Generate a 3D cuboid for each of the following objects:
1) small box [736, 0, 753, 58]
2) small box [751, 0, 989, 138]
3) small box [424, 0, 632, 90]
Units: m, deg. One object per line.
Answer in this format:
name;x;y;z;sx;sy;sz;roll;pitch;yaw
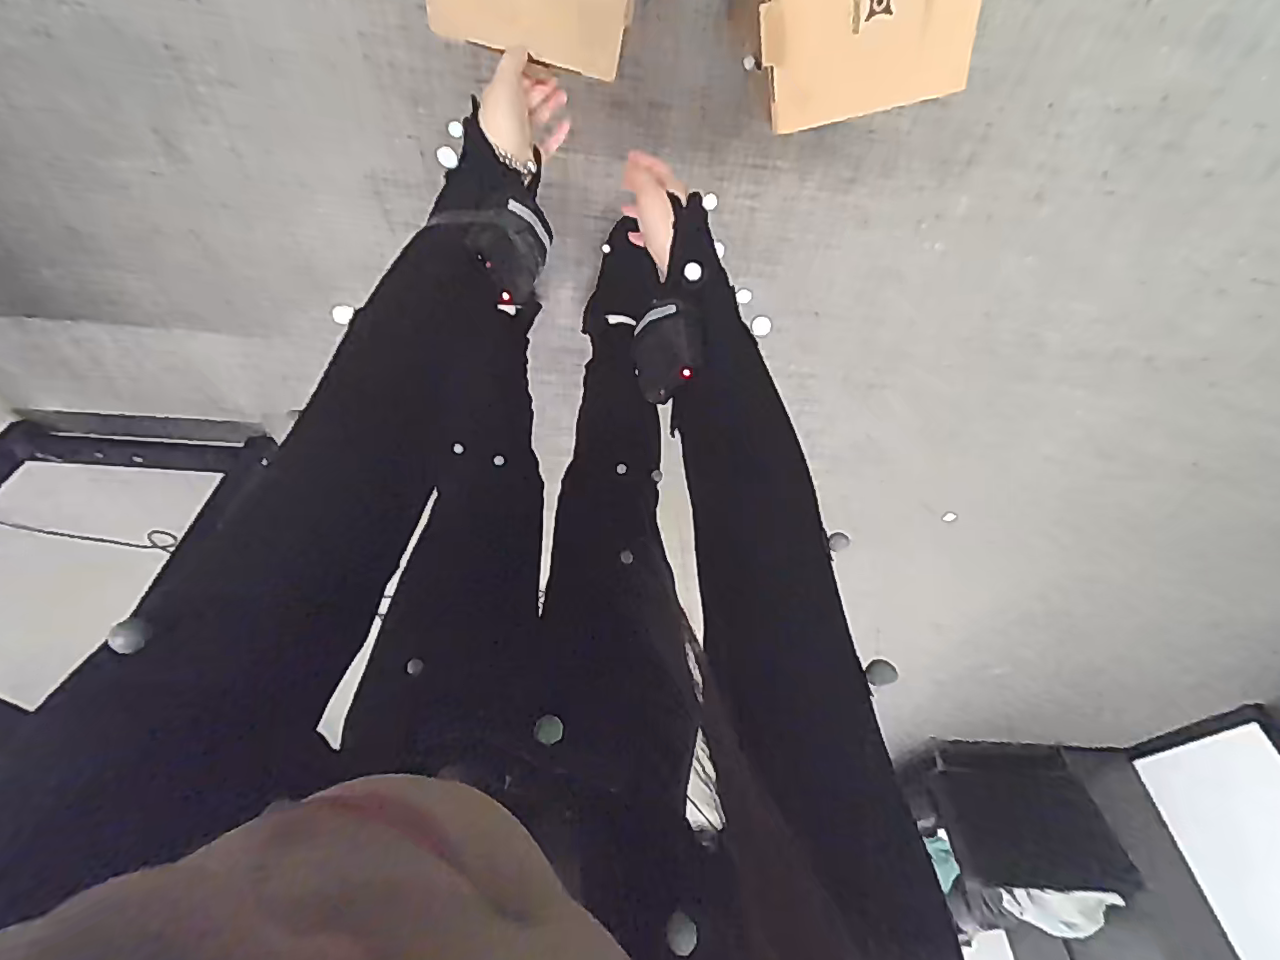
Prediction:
small box;0.205;-0.579;0.589;0.179;0.176;0.168;-1;140;0
small box;0.195;-0.449;0.491;0.179;0.176;0.168;-9;140;10
small box;-0.080;-0.477;0.459;0.168;0.176;0.179;9;139;-9
